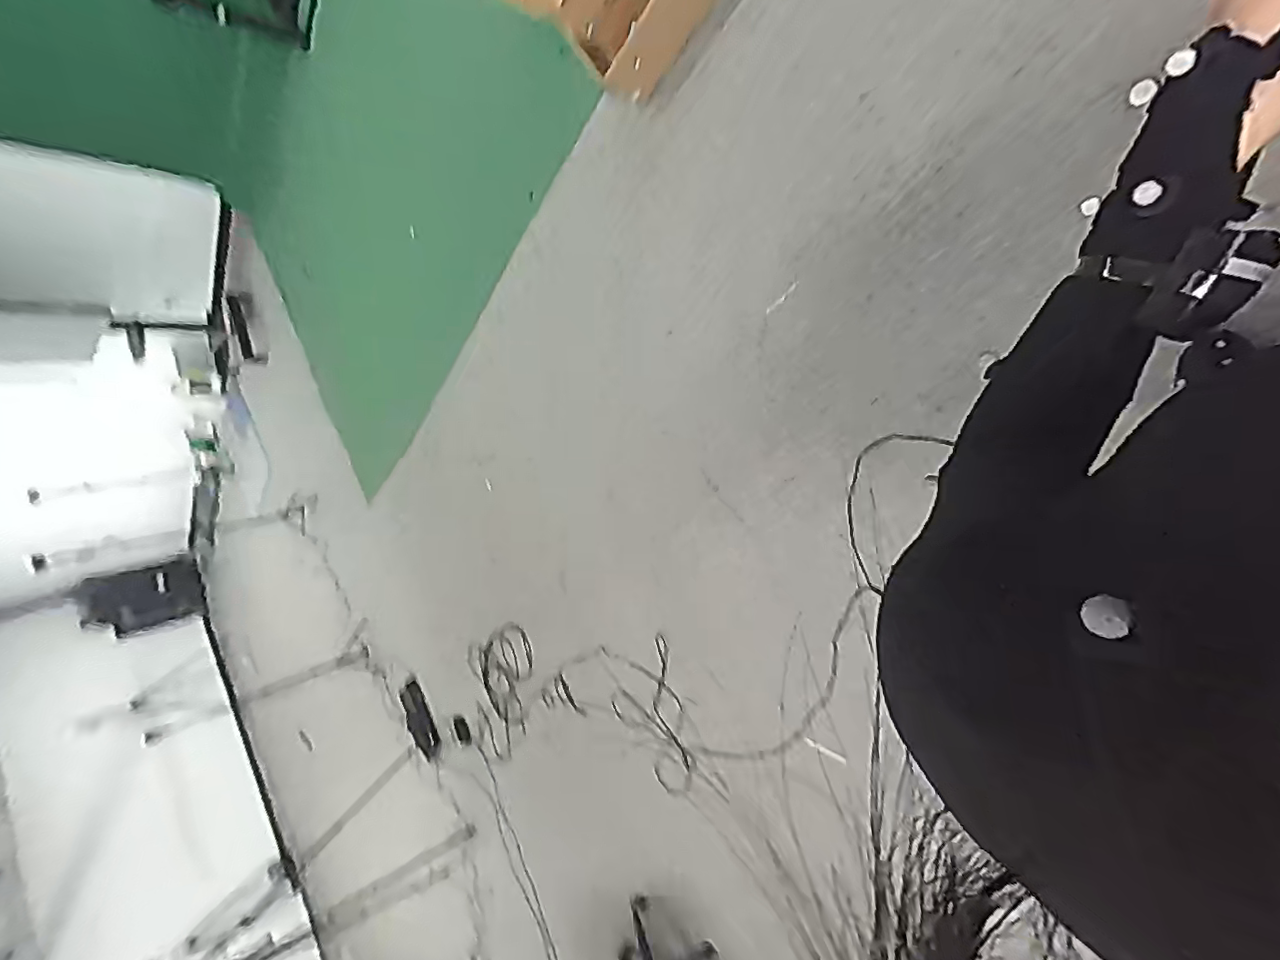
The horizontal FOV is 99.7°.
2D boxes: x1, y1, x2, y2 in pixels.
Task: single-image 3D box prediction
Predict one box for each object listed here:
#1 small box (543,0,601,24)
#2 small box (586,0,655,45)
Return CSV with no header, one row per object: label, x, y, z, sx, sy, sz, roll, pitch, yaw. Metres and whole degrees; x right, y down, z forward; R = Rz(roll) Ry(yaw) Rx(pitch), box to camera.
small box,-0.192,-1.387,1.456,0.168,0.176,0.179,-39,74,38
small box,-0.089,-1.428,1.577,0.168,0.176,0.179,-42,73,39
